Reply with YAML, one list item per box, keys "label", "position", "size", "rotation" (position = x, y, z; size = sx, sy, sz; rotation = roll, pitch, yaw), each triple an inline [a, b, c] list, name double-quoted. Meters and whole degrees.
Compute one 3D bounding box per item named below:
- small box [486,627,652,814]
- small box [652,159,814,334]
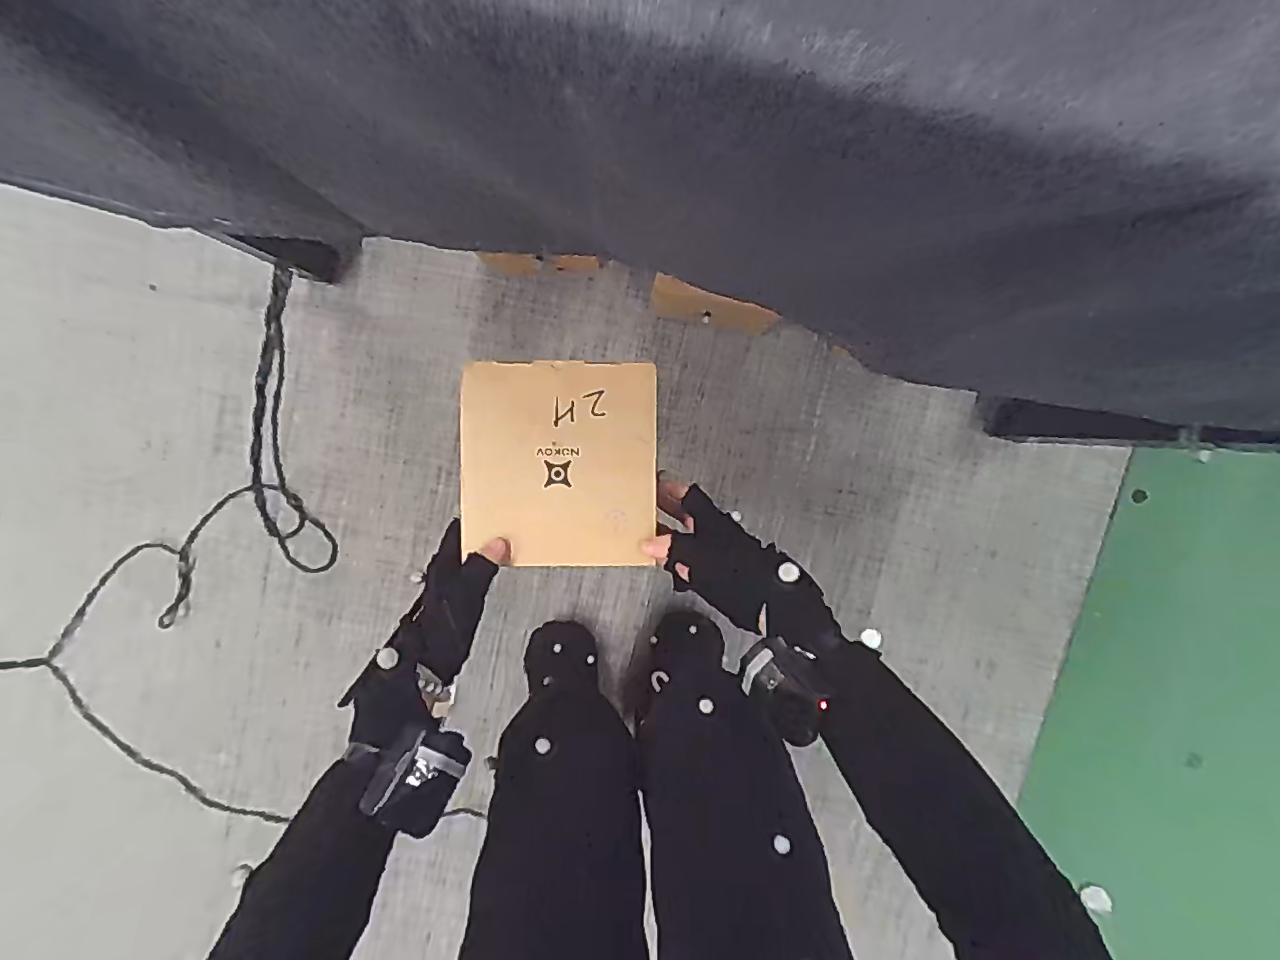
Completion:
- label: "small box"
  position: [-0.112, 0.361, 0.839]
  size: [0.179, 0.176, 0.168]
  rotation: [34, 100, 17]
- label: "small box"
  position: [0.117, -0.308, 0.753]
  size: [0.179, 0.176, 0.168]
  rotation: [11, 96, 0]
